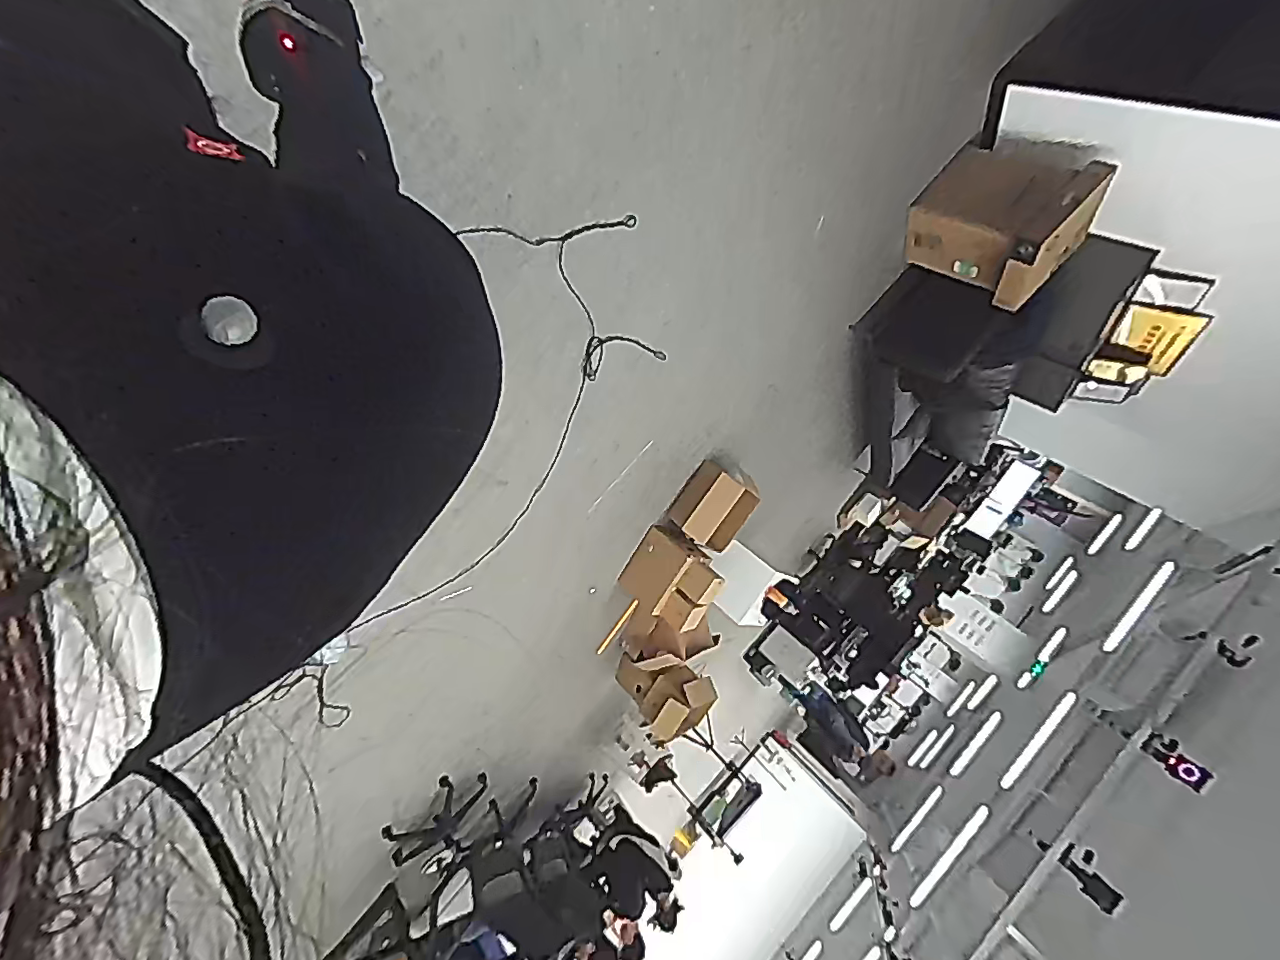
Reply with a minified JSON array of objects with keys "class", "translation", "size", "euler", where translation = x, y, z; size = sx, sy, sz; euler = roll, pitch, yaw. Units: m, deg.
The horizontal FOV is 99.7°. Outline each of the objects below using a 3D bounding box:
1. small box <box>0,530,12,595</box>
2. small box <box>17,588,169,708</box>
[{"class":"small box","translation":[-1.405,0.192,1.064],"size":[0.179,0.176,0.168],"euler":[-50,148,-2]},{"class":"small box","translation":[-1.200,0.369,1.187],"size":[0.179,0.176,0.168],"euler":[-47,150,-6]}]
